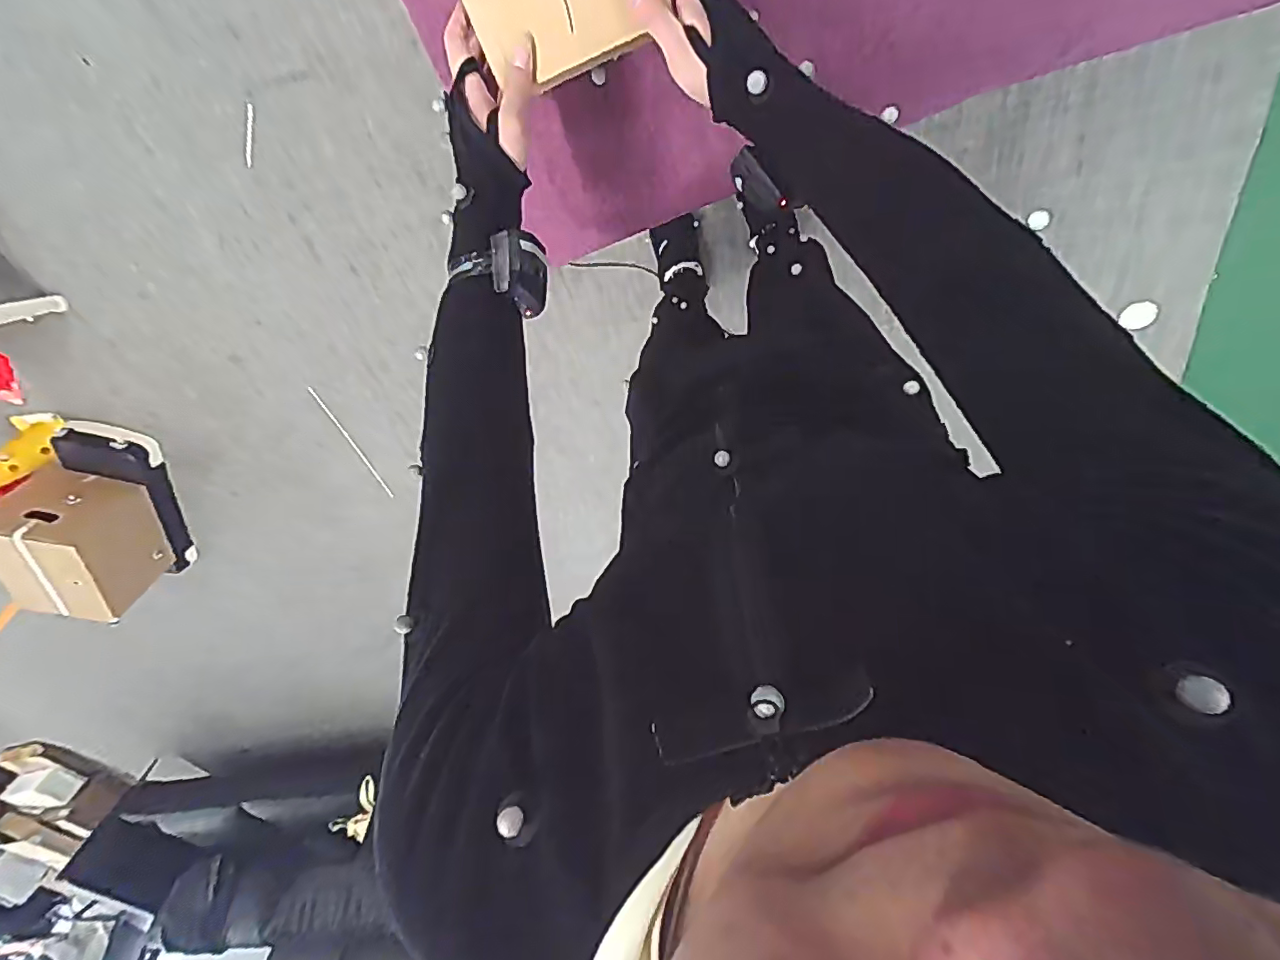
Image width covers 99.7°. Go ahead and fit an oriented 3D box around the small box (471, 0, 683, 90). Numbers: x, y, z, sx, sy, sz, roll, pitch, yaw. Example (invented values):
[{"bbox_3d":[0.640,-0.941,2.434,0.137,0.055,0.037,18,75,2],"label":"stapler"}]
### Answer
[{"bbox_3d":[-0.066,-0.478,0.479,0.168,0.176,0.179,-14,126,14],"label":"small box"}]
